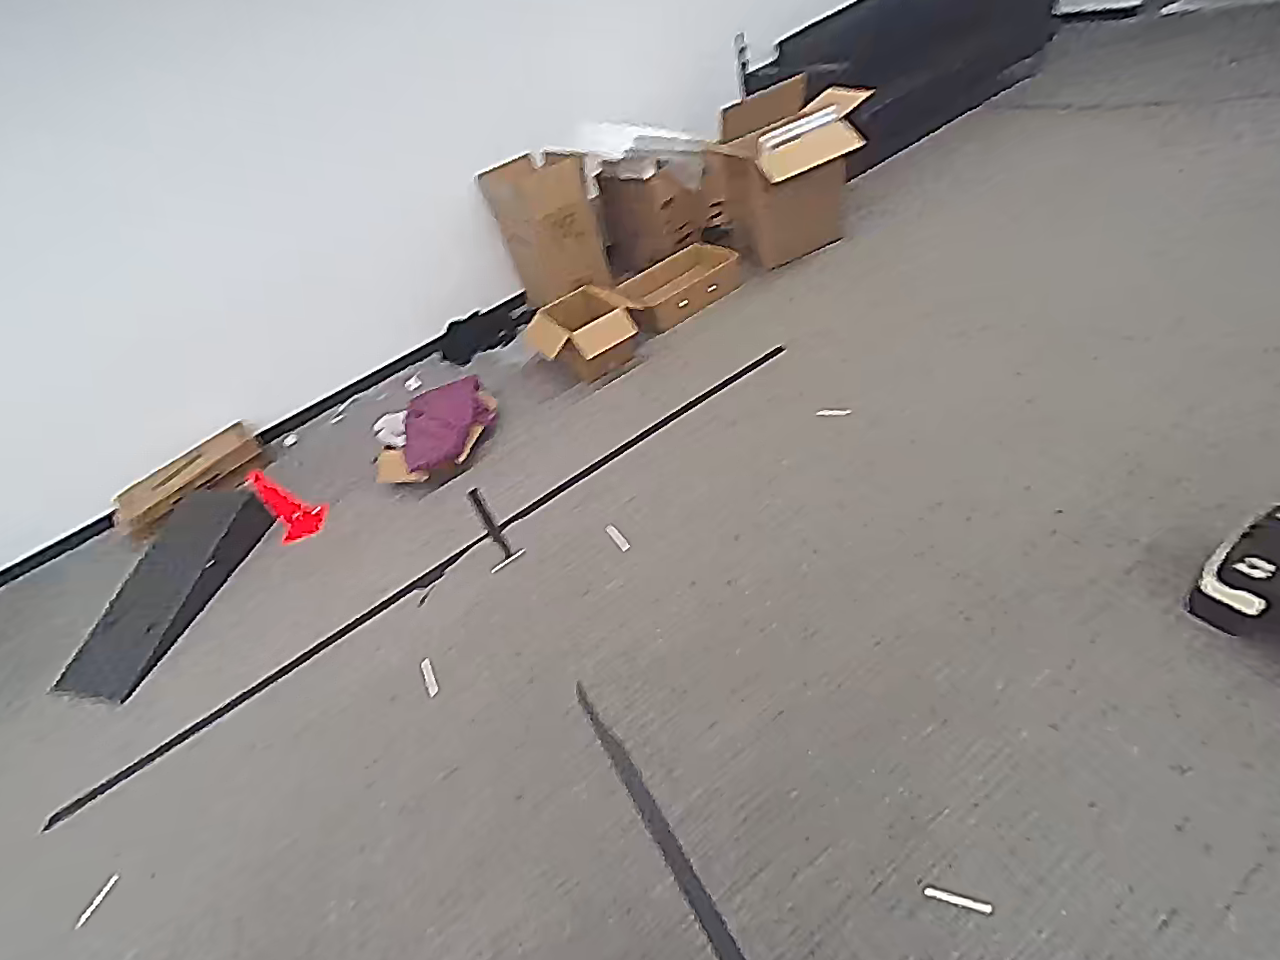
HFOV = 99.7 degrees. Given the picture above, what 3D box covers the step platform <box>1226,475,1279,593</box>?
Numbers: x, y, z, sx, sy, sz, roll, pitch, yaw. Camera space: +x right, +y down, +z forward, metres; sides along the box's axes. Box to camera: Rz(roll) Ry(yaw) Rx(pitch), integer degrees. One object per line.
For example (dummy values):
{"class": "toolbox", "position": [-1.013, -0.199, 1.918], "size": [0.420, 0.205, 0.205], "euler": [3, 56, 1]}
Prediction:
{"class": "step platform", "position": [1.546, 0.209, 0.956], "size": [0.286, 0.204, 0.684], "euler": [-34, 45, -15]}
